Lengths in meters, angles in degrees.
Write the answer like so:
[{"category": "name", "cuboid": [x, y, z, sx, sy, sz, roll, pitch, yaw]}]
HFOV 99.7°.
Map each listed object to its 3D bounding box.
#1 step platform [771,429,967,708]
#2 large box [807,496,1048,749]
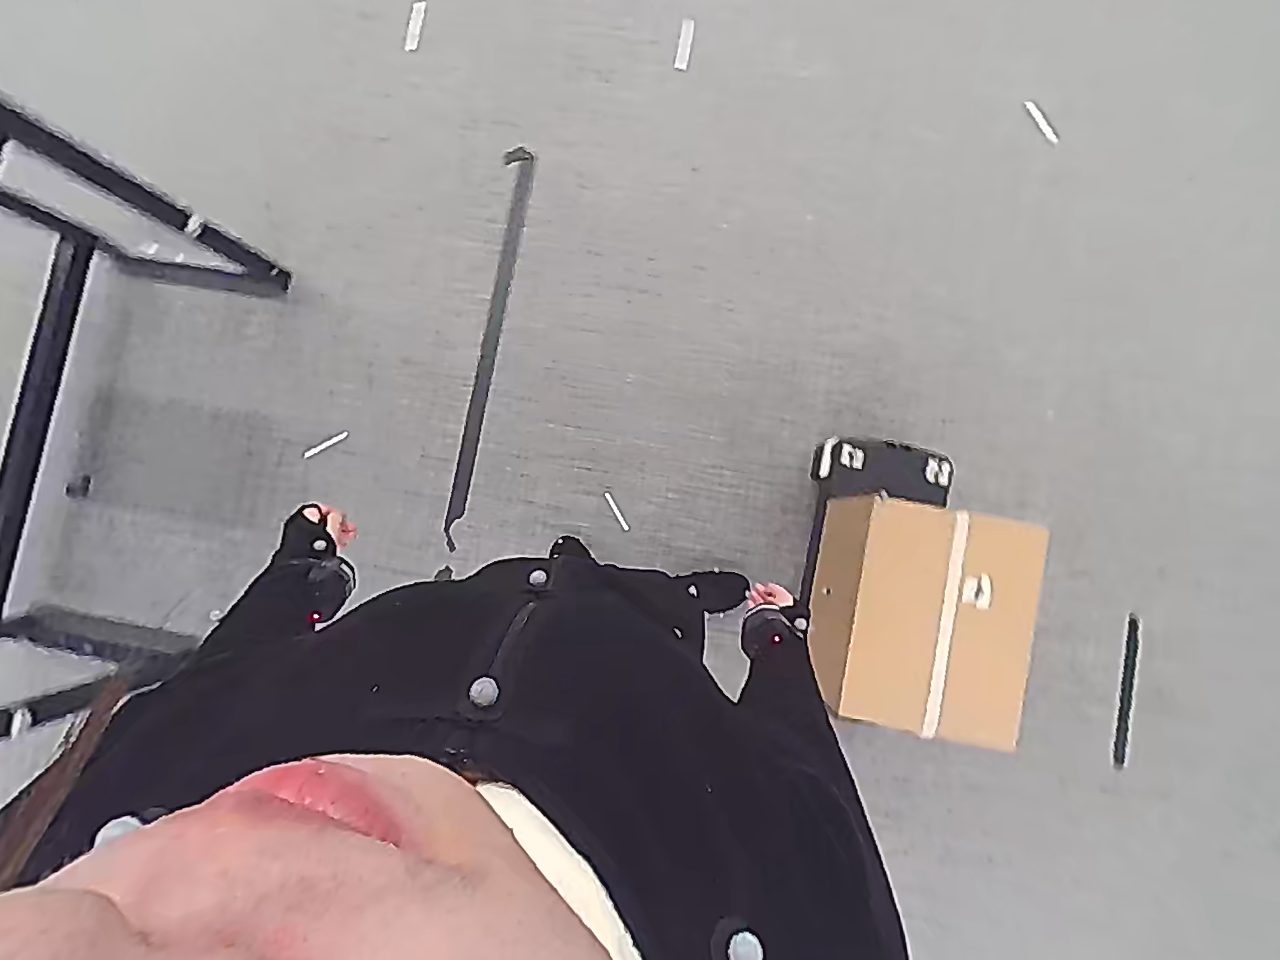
[{"category": "step platform", "cuboid": [0.561, 0.220, 1.349, 0.286, 0.204, 0.684, 16, 87, 4]}, {"category": "large box", "cuboid": [0.554, 0.262, 1.107, 0.320, 0.320, 0.408, 11, 86, 4]}]
